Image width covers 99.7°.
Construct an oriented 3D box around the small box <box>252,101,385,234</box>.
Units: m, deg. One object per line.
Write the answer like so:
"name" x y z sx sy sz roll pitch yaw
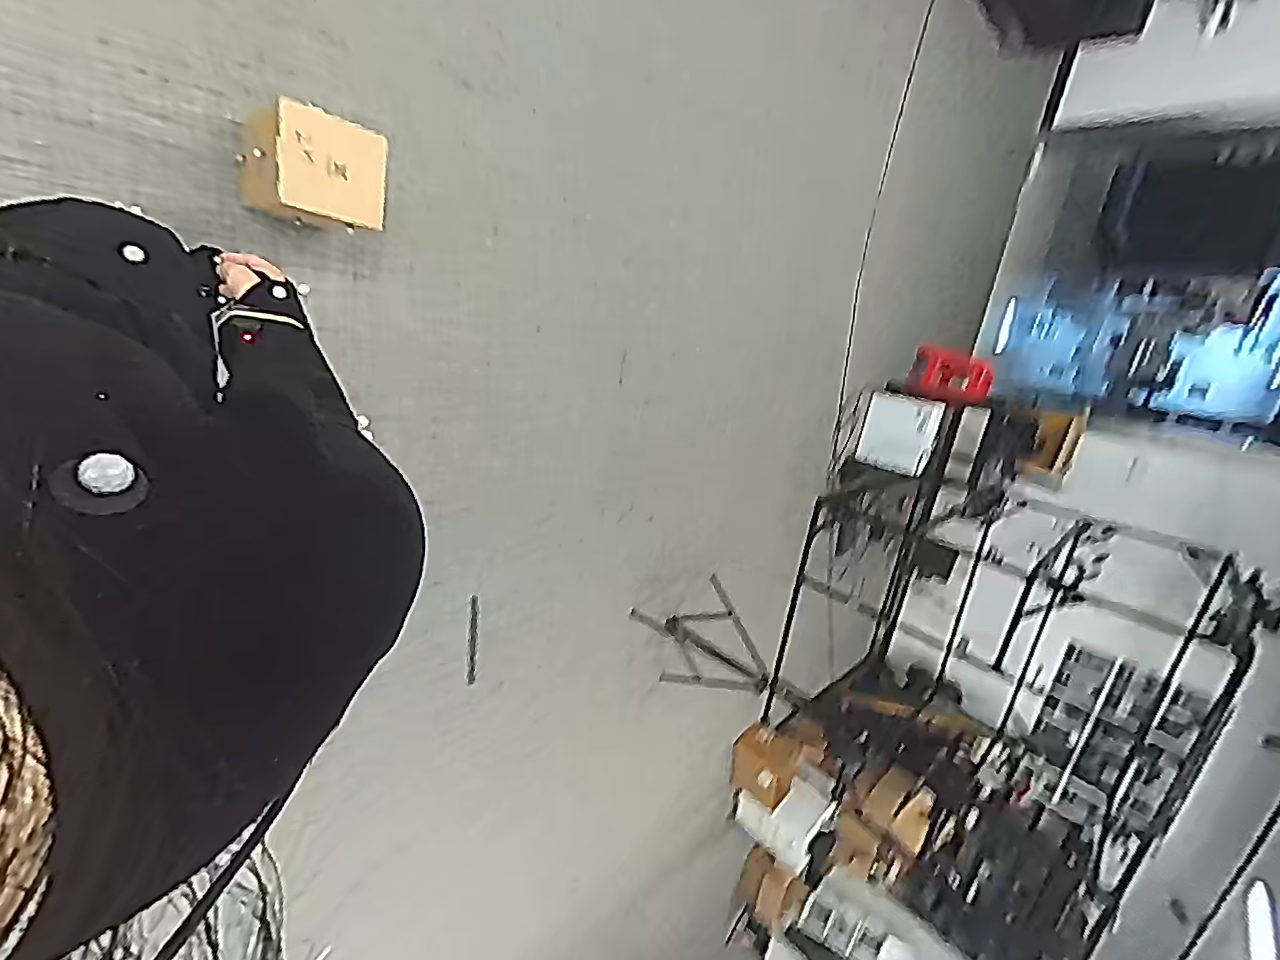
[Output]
"small box" -0.609 -0.579 1.024 0.179 0.176 0.168 -2 109 -45
